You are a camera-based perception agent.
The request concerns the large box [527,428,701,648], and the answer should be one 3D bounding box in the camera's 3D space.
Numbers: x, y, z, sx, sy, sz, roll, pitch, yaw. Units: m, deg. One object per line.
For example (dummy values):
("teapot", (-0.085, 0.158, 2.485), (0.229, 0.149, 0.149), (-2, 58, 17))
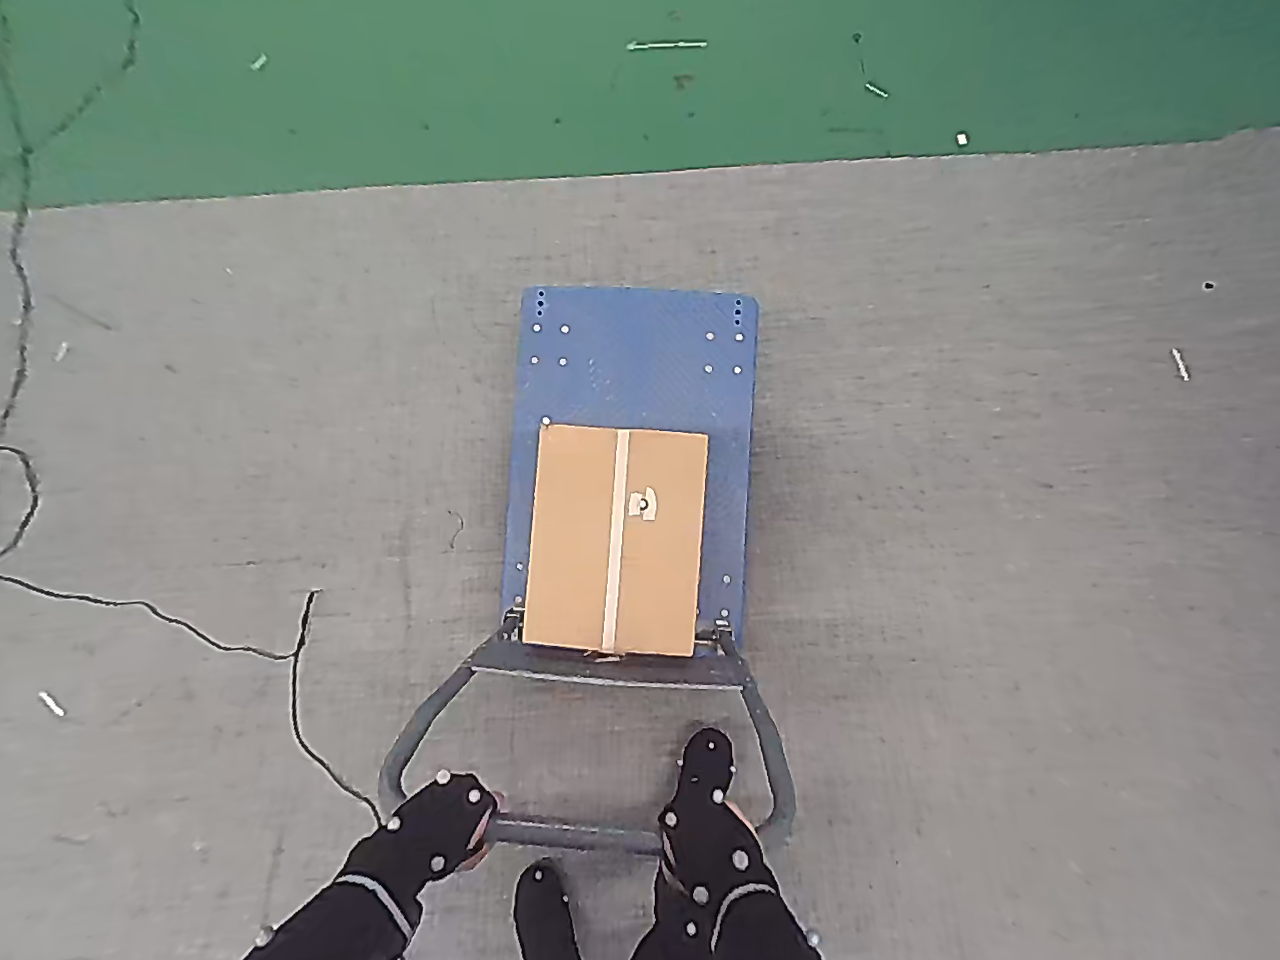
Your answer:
("large box", (-0.041, 0.119, 1.158), (0.320, 0.320, 0.408), (4, 86, 2))
